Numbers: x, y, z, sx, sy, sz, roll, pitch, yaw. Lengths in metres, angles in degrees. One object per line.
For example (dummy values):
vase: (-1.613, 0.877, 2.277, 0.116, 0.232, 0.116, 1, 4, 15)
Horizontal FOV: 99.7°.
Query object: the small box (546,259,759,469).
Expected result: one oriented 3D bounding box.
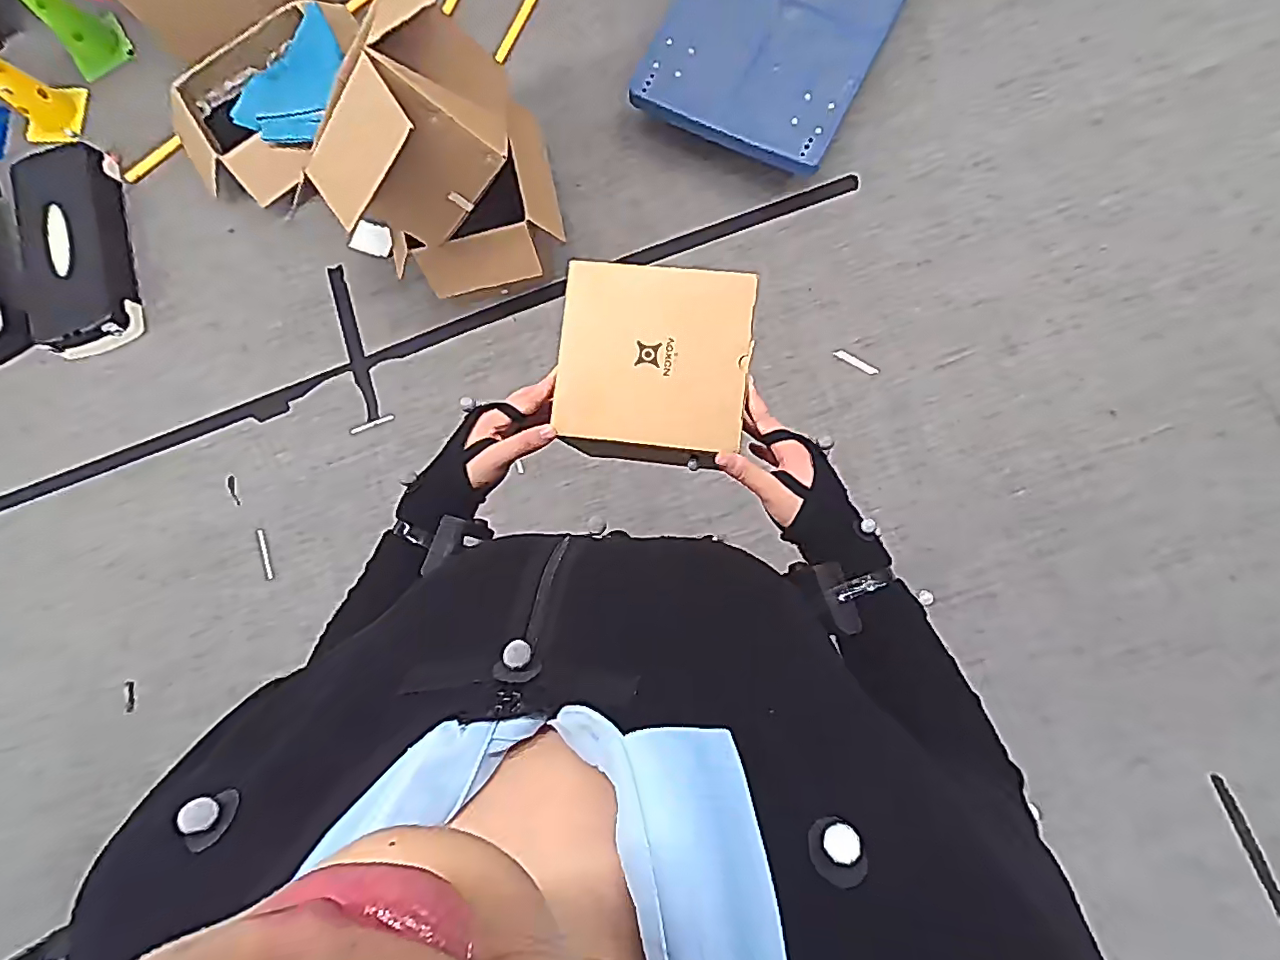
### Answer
small box: (0.018, -0.107, 0.562, 0.179, 0.176, 0.168, 7, 86, 6)
